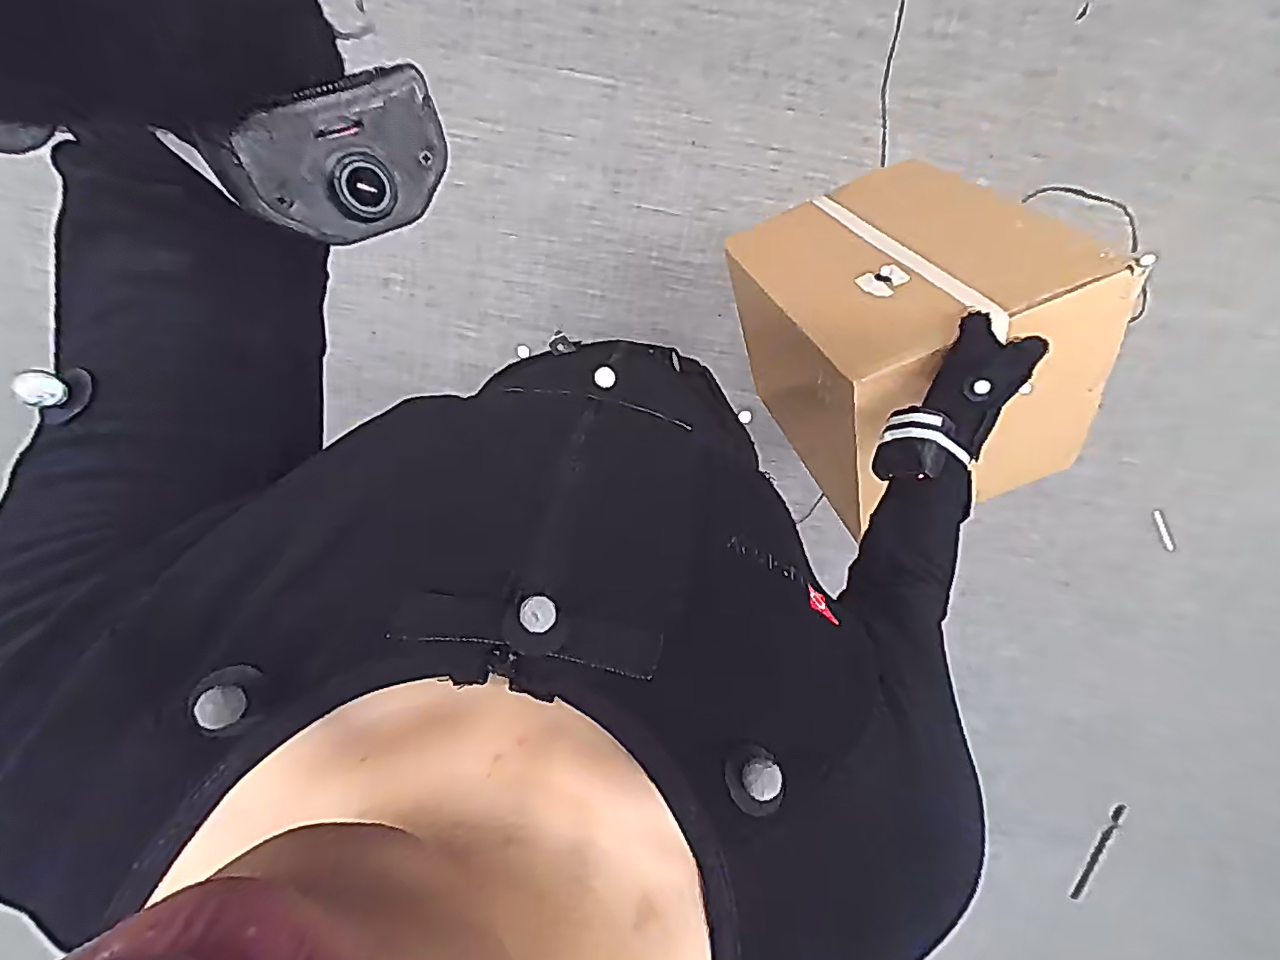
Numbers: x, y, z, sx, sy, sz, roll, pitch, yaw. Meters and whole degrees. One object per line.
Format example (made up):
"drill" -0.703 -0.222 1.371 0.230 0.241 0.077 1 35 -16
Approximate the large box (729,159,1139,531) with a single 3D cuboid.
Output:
"large box" 0.367 -0.205 0.801 0.320 0.408 0.320 -23 136 5
